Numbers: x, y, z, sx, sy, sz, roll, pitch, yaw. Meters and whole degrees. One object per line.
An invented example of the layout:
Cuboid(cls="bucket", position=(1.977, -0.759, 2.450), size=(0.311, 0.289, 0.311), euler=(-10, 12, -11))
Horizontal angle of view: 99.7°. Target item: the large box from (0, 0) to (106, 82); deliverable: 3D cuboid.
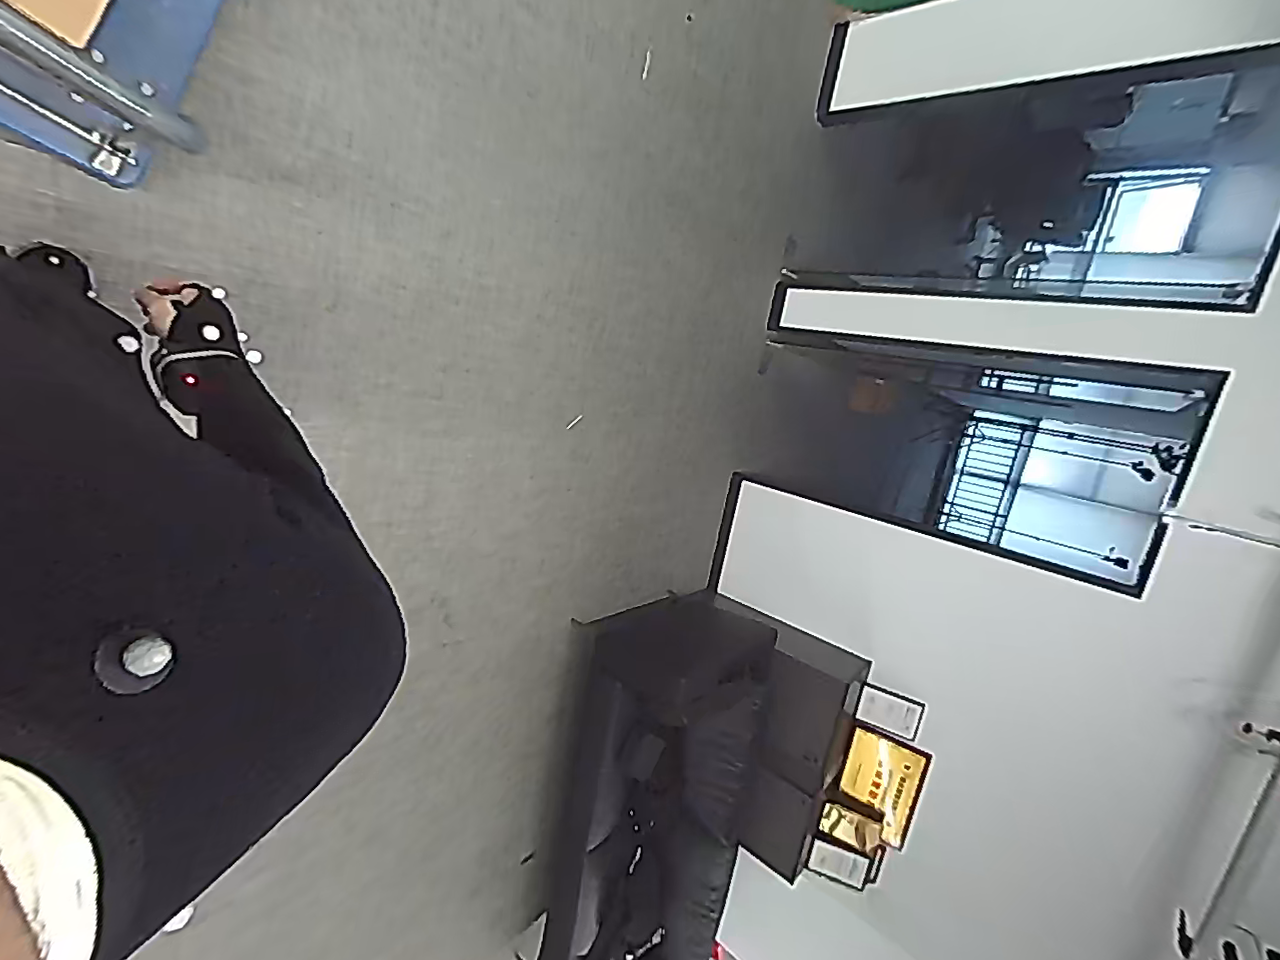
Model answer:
Cuboid(cls="large box", position=(-0.907, -0.864, 0.732), size=(0.320, 0.320, 0.408), euler=(26, 83, -53))
